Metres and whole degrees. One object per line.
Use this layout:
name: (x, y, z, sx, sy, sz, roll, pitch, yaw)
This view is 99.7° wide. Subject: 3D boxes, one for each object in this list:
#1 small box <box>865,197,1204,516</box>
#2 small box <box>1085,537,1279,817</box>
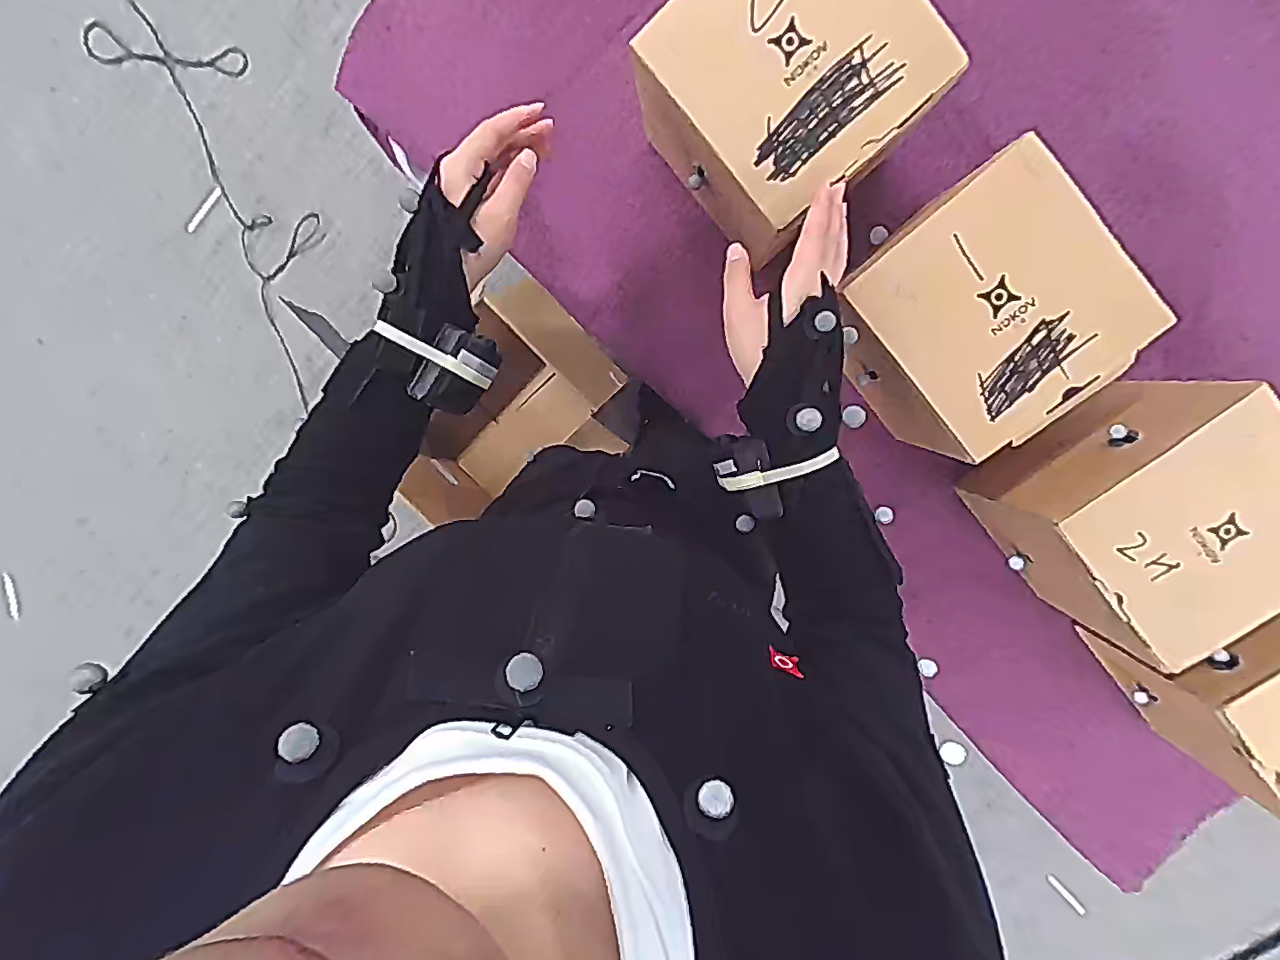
small box: (0.317, -0.103, 0.466, 0.179, 0.176, 0.168, 30, 142, 3)
small box: (0.591, 0.179, 0.509, 0.179, 0.176, 0.168, -39, 95, 10)
